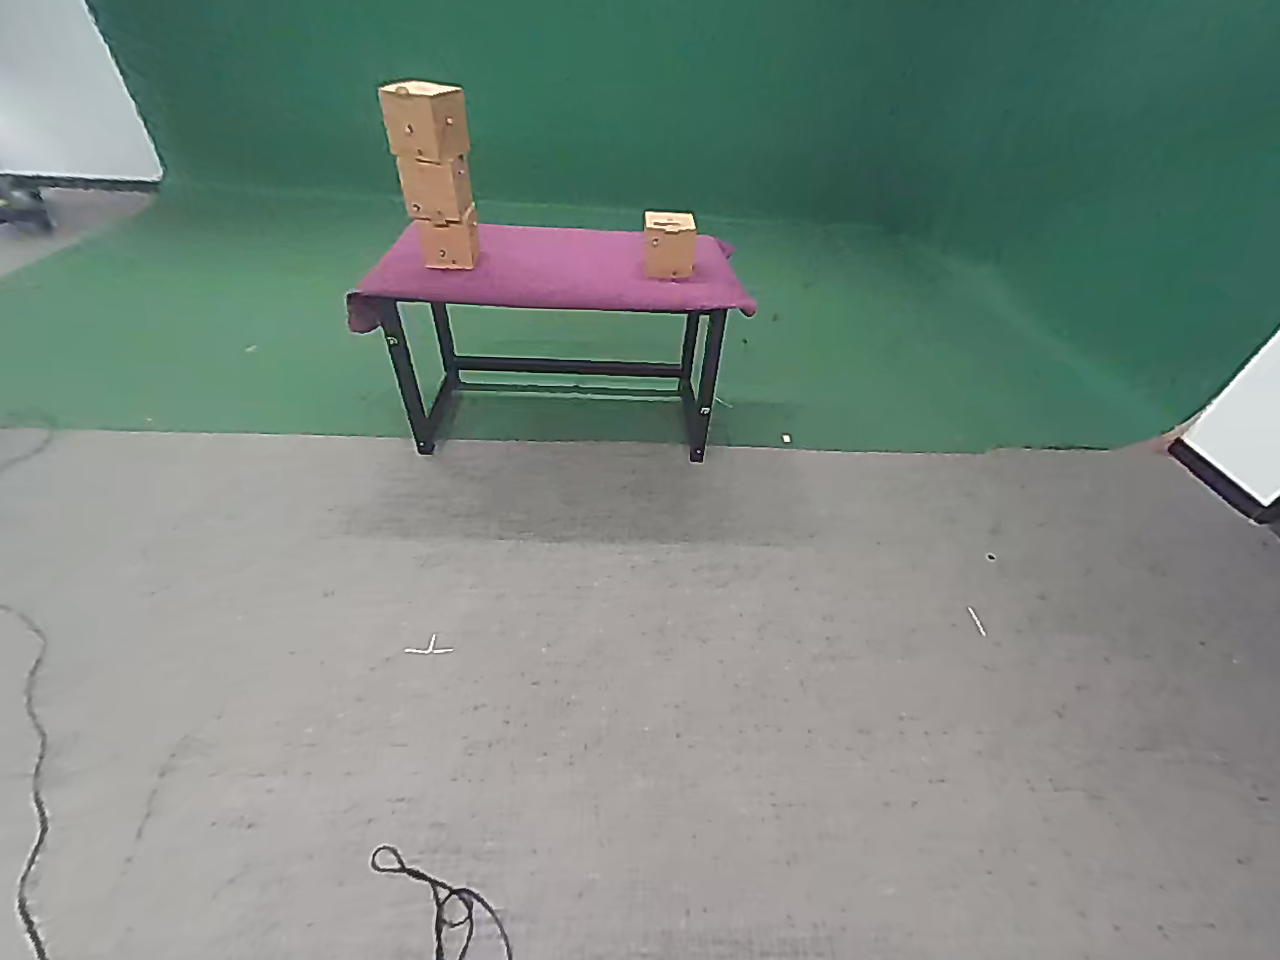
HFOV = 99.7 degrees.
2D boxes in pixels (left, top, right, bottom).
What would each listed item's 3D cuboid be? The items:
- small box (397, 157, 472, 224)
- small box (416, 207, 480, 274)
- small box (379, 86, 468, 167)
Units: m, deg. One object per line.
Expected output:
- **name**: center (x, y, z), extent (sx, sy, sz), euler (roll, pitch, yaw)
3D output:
- **small box**: center (-0.648, -0.935, 1.730), extent (0.168, 0.176, 0.179), euler (4, 43, -2)
- **small box**: center (-0.650, -0.826, 1.854), extent (0.168, 0.176, 0.179), euler (0, 44, -5)
- **small box**: center (-0.637, -1.057, 1.621), extent (0.168, 0.176, 0.179), euler (16, 46, 10)
